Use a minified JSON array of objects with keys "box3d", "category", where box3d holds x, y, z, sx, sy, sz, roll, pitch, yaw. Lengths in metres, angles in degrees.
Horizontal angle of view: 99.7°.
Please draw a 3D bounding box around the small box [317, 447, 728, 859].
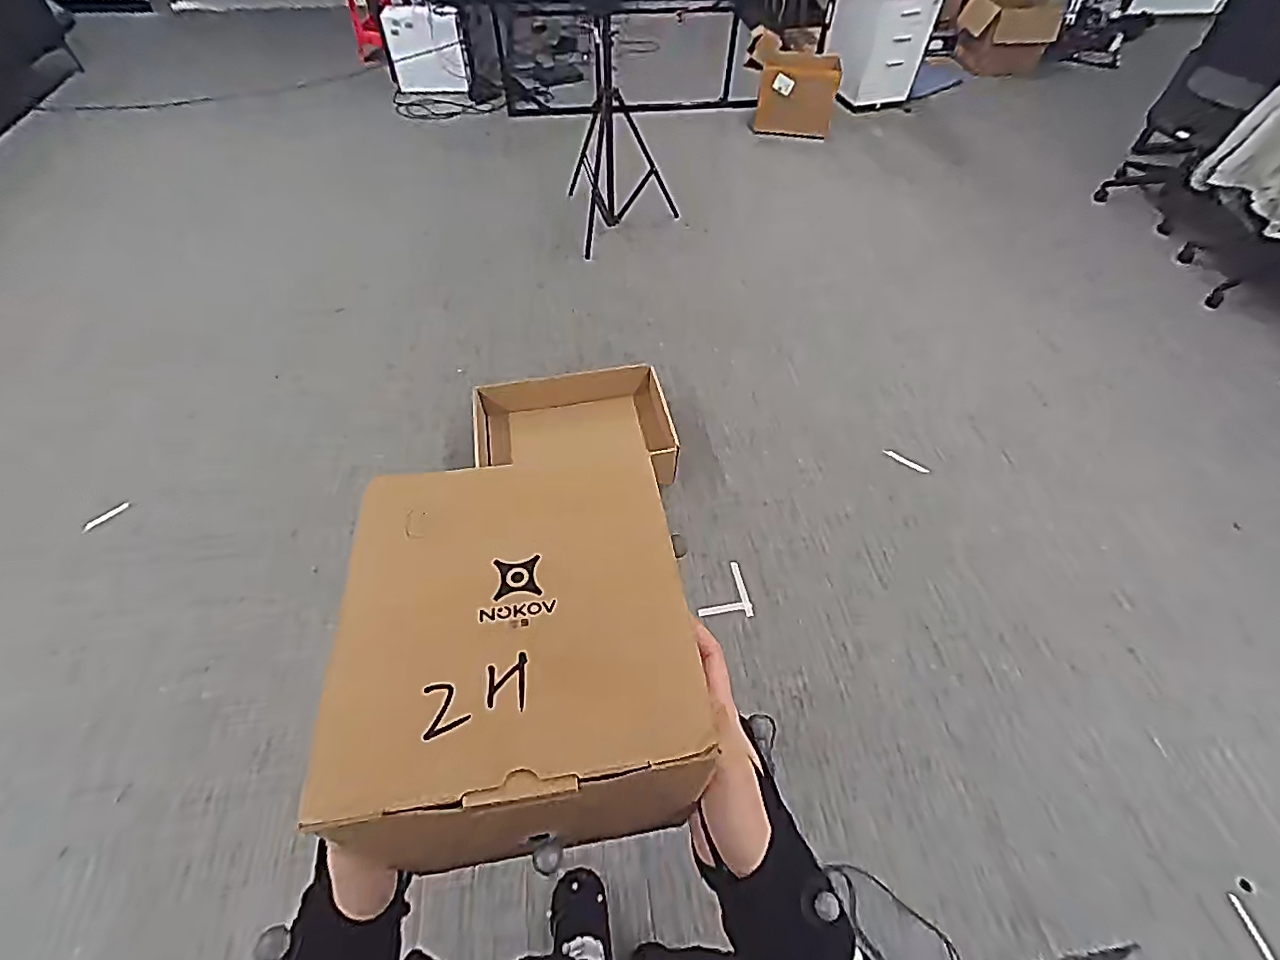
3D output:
[{"box3d":[-0.059,0.104,0.329,0.168,0.176,0.179,-6,50,-8],"category":"small box"}]
